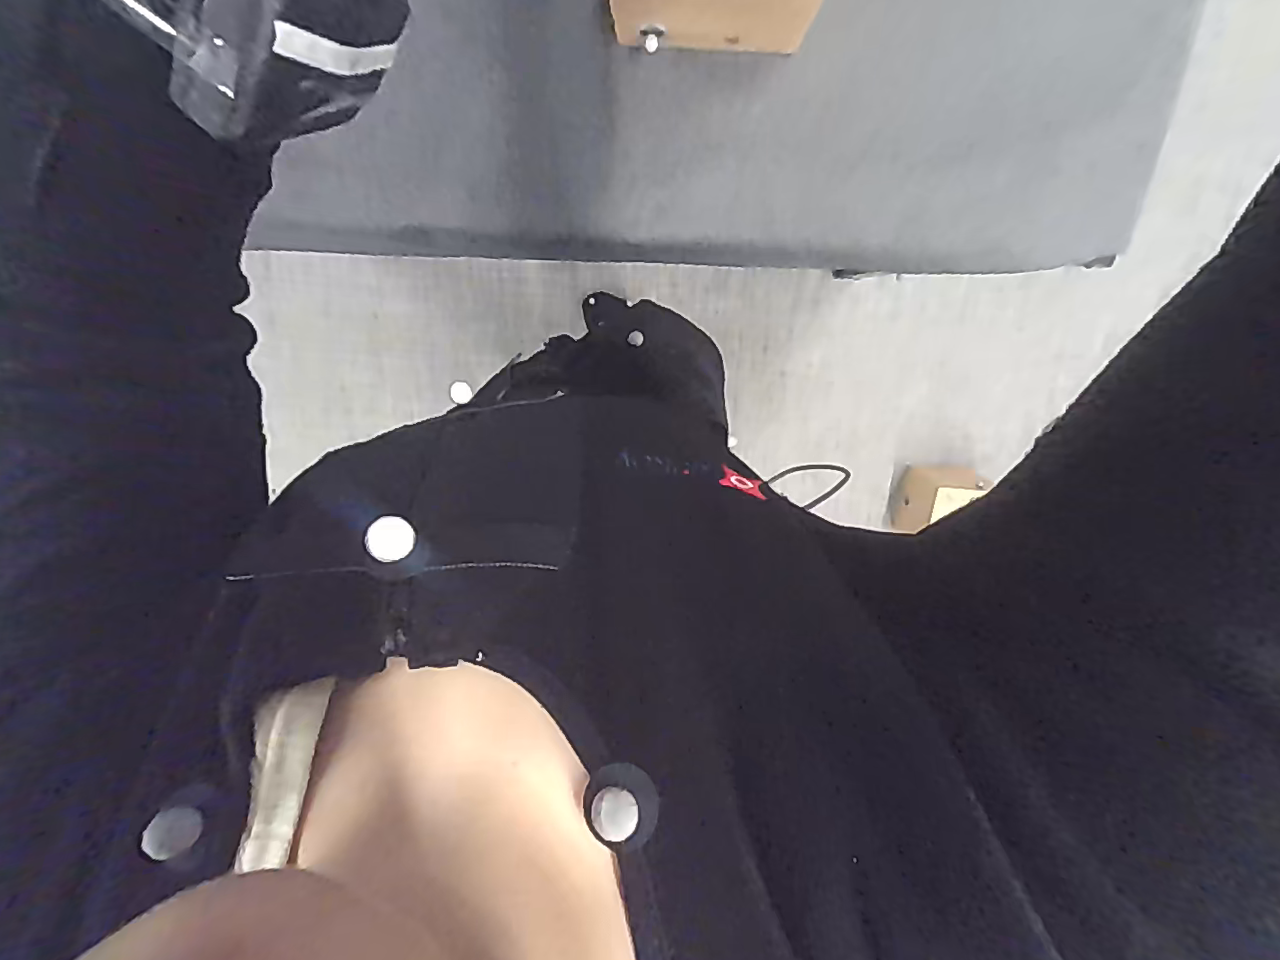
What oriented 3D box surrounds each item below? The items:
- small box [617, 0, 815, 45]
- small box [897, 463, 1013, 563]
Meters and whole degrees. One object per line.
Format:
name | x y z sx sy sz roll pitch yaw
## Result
small box | 0.064 -0.452 0.390 0.168 0.176 0.179 4 108 2
small box | 0.739 0.074 1.295 0.168 0.176 0.179 6 110 1
